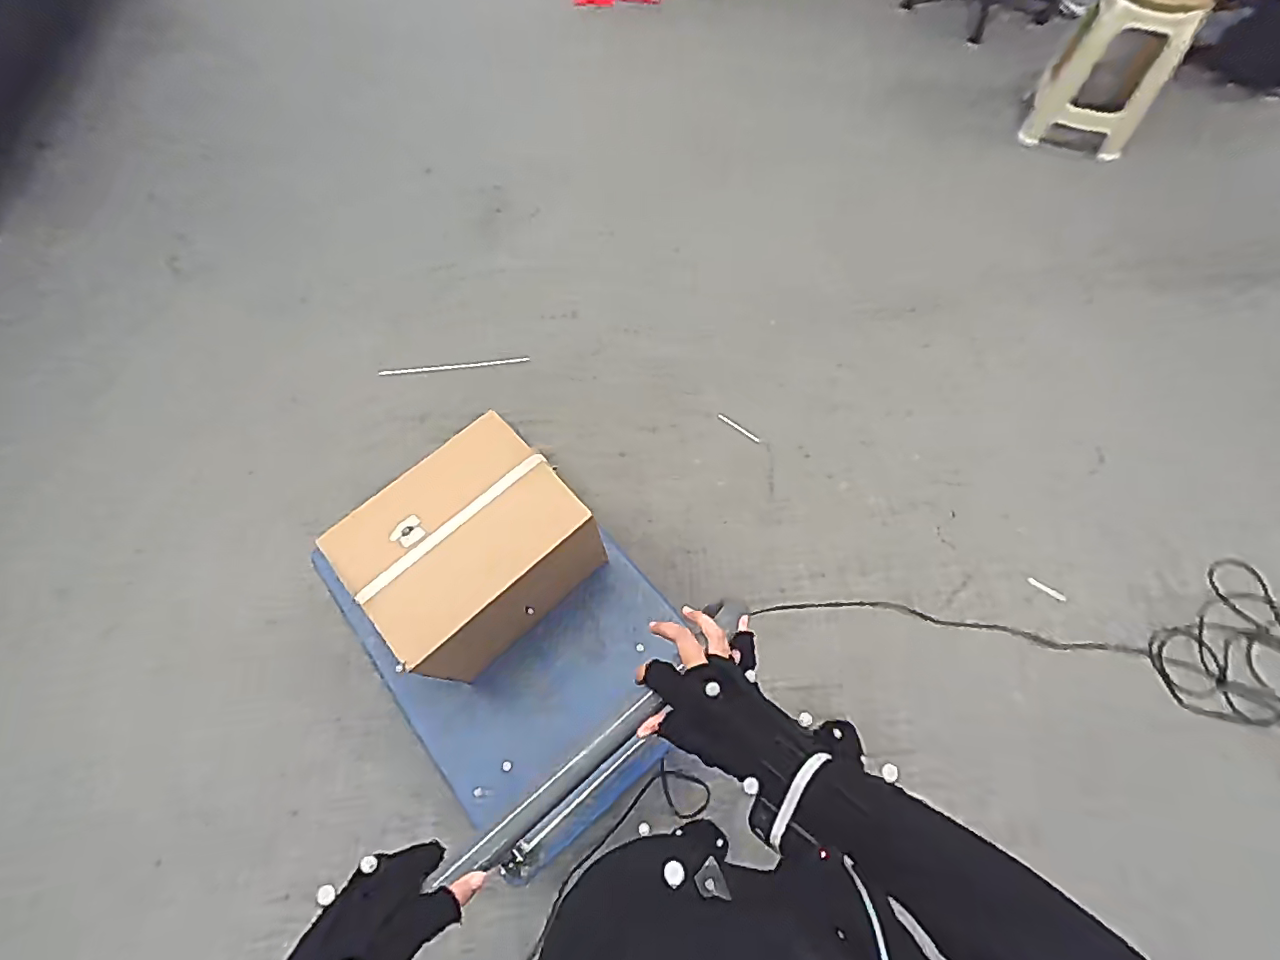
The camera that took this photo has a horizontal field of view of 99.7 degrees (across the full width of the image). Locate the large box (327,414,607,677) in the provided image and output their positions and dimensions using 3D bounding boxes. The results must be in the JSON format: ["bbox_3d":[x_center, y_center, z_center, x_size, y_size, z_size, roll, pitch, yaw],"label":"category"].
[{"bbox_3d":[-0.324,0.148,1.127,0.408,0.320,0.320,-41,70,-13],"label":"large box"}]
